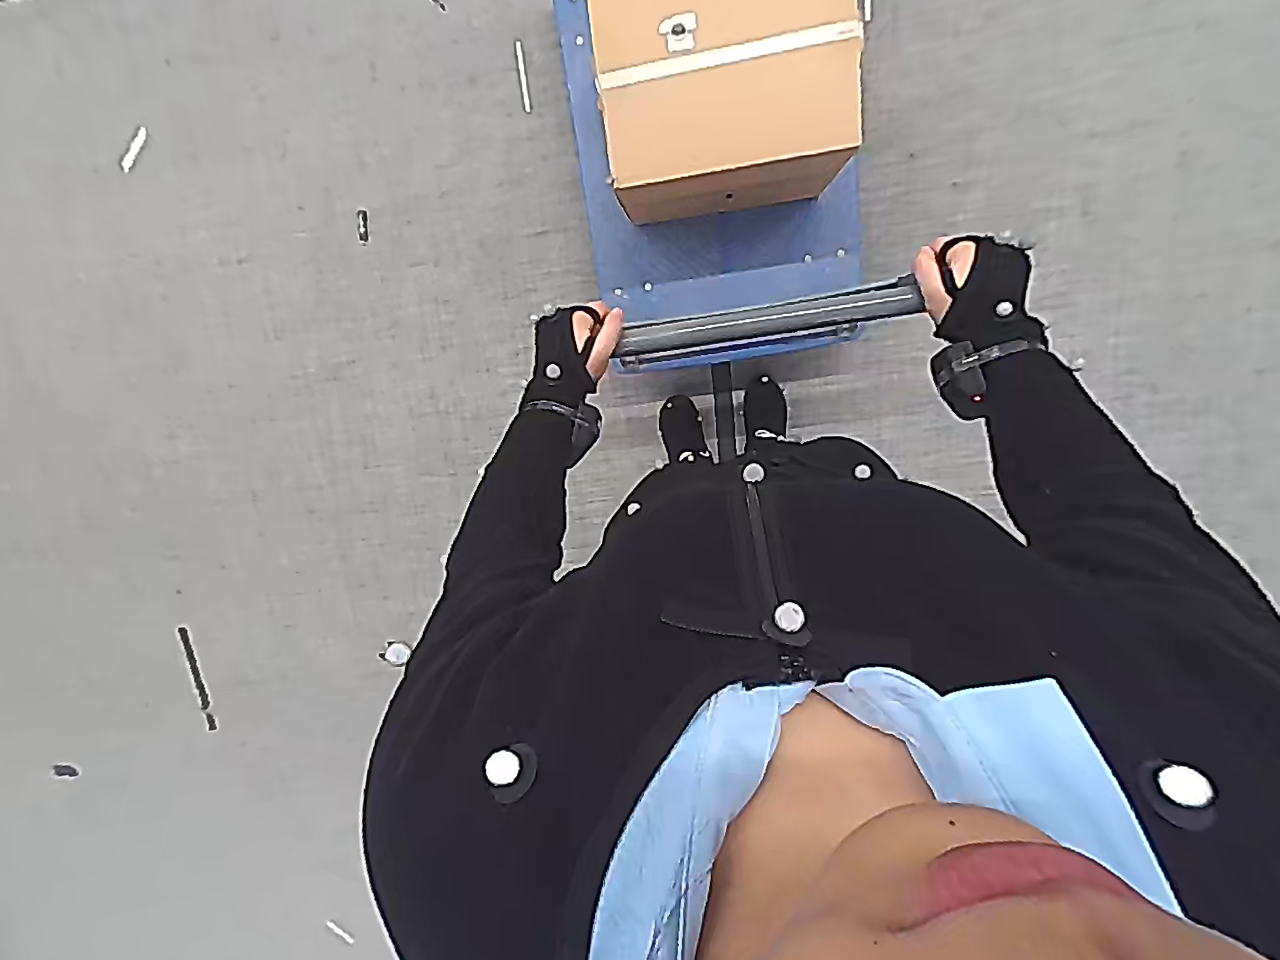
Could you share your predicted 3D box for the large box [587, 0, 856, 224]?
[{"bbox_3d":[0.149,-0.700,1.003,0.408,0.320,0.320,-6,103,9],"label":"large box"}]
